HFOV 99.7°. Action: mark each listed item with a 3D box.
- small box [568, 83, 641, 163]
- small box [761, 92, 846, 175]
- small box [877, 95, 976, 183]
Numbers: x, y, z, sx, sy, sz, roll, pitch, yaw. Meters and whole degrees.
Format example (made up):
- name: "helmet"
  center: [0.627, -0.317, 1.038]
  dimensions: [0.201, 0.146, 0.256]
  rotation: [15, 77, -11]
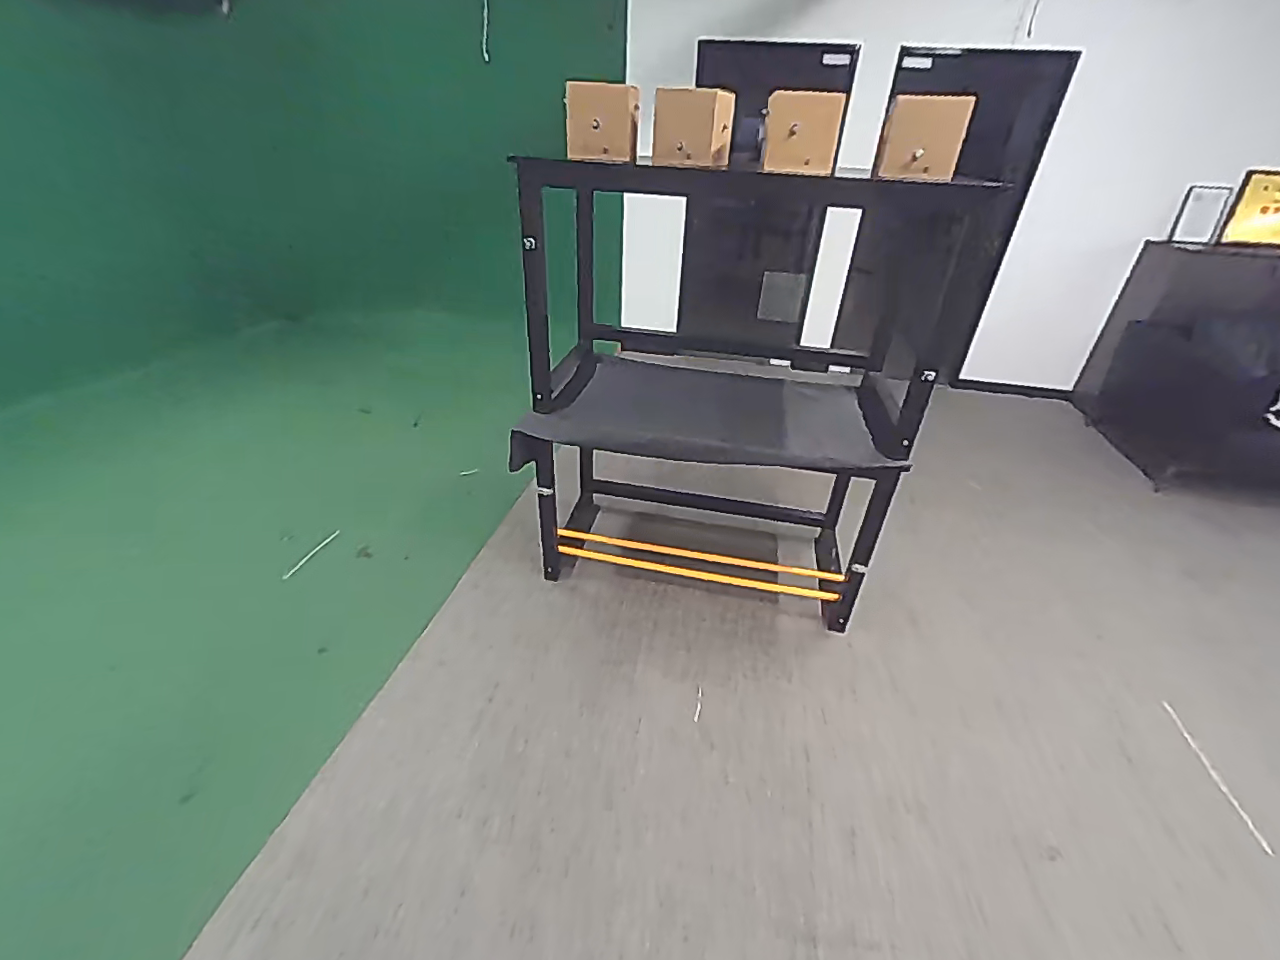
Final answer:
- name: "small box"
  center: [-0.093, -0.960, 1.462]
  dimensions: [0.168, 0.176, 0.179]
  rotation: [7, 32, 5]
- name: "small box"
  center: [0.409, -0.879, 1.380]
  dimensions: [0.168, 0.176, 0.179]
  rotation: [6, 32, 4]
- name: "small box"
  center: [0.698, -0.843, 1.341]
  dimensions: [0.168, 0.176, 0.179]
  rotation: [11, 34, 13]
